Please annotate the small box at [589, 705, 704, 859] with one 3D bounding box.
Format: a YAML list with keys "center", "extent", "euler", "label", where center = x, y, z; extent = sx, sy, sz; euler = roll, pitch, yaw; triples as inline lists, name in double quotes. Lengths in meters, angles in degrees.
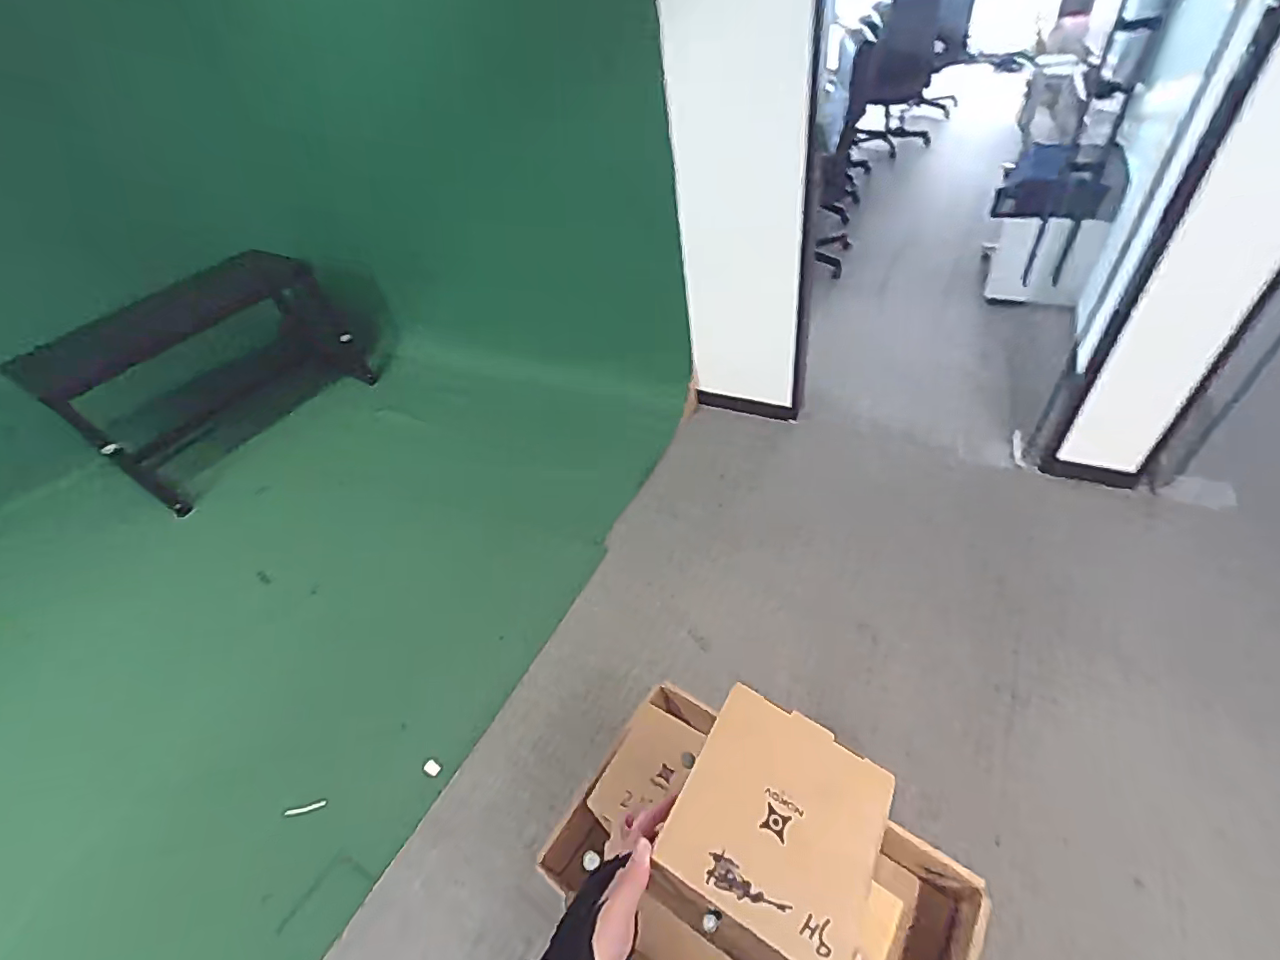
- center: [0.045, 0.504, 0.862]
  extent: [0.168, 0.176, 0.179]
  euler: [21, 54, 28]
  label: "small box"

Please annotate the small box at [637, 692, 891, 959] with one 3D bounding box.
- center: [0.110, 0.350, 0.523]
  extent: [0.168, 0.176, 0.179]
  euler: [27, 50, 16]
  label: "small box"
